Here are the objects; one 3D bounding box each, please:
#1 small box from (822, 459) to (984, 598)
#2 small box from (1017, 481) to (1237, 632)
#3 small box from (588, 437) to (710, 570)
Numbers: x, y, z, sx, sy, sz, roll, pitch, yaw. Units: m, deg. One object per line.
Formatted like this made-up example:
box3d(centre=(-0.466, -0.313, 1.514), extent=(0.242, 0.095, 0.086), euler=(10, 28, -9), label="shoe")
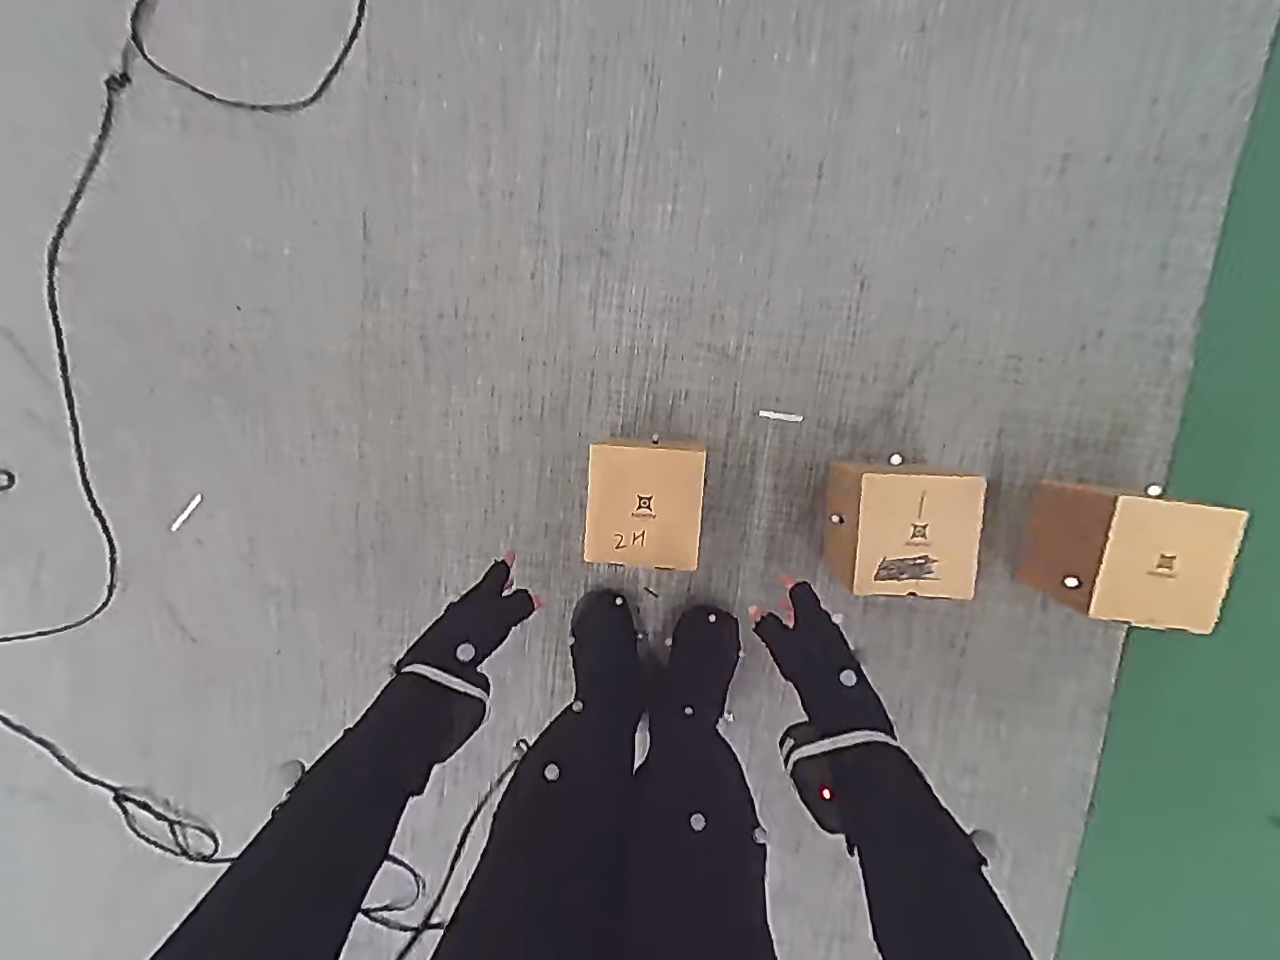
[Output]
box3d(centre=(0.388, 0.066, 0.830), extent=(0.168, 0.176, 0.179), euler=(2, 97, 3), label="small box")
box3d(centre=(0.710, 0.103, 0.814), extent=(0.168, 0.176, 0.179), euler=(8, 99, 4), label="small box")
box3d(centre=(0.017, 0.026, 0.852), extent=(0.168, 0.176, 0.179), euler=(5, 99, 5), label="small box")
